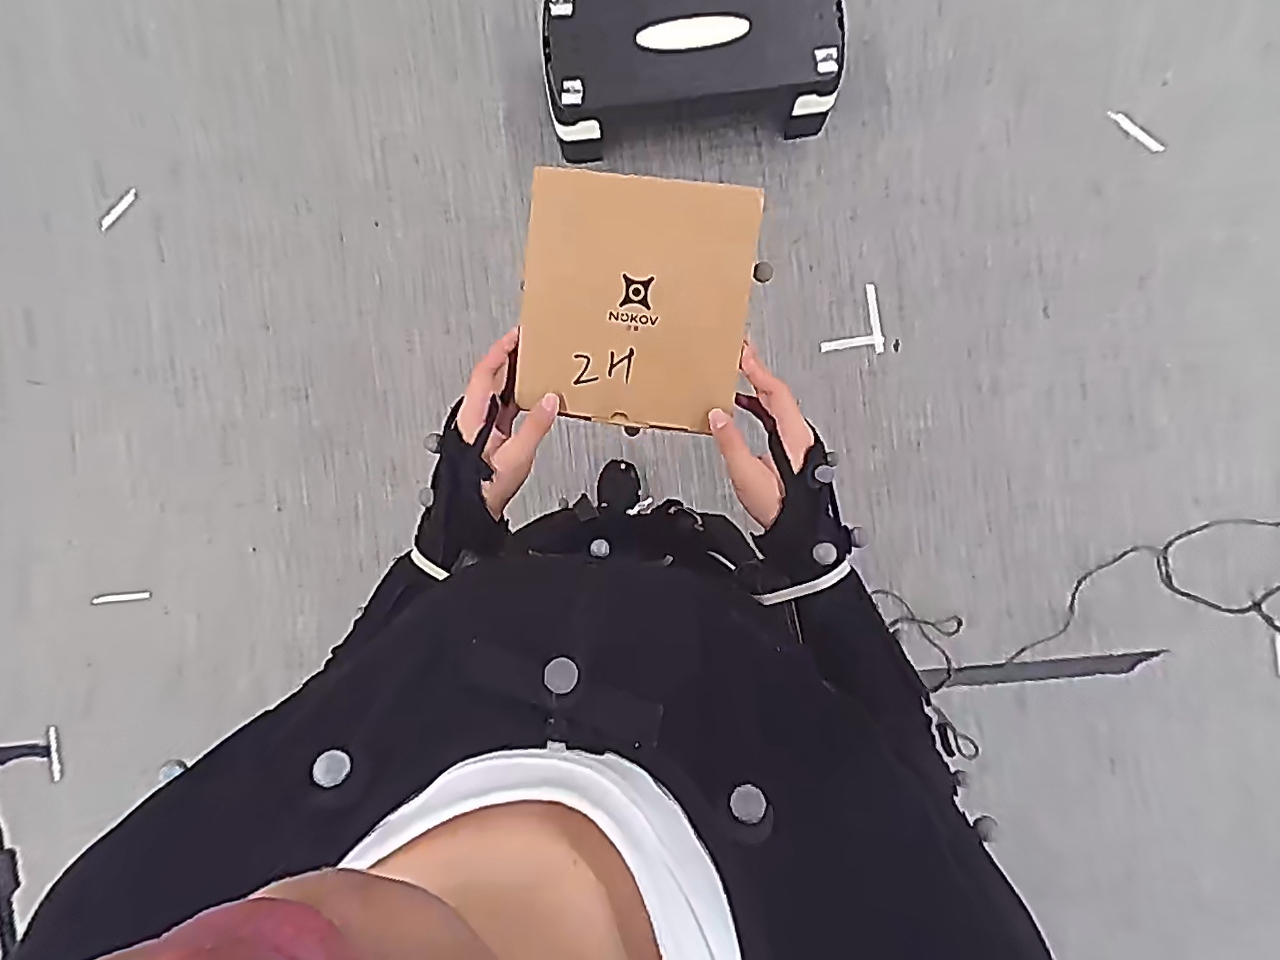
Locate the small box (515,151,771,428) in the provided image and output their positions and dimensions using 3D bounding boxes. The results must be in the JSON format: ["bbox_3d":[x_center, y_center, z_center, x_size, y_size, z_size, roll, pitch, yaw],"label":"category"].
[{"bbox_3d":[0.005,-0.145,0.466,0.168,0.176,0.179,9,98,4],"label":"small box"}]

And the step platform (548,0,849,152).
[{"bbox_3d":[0.130,-1.004,1.275,0.684,0.204,0.286,-6,89,2],"label":"step platform"}]
